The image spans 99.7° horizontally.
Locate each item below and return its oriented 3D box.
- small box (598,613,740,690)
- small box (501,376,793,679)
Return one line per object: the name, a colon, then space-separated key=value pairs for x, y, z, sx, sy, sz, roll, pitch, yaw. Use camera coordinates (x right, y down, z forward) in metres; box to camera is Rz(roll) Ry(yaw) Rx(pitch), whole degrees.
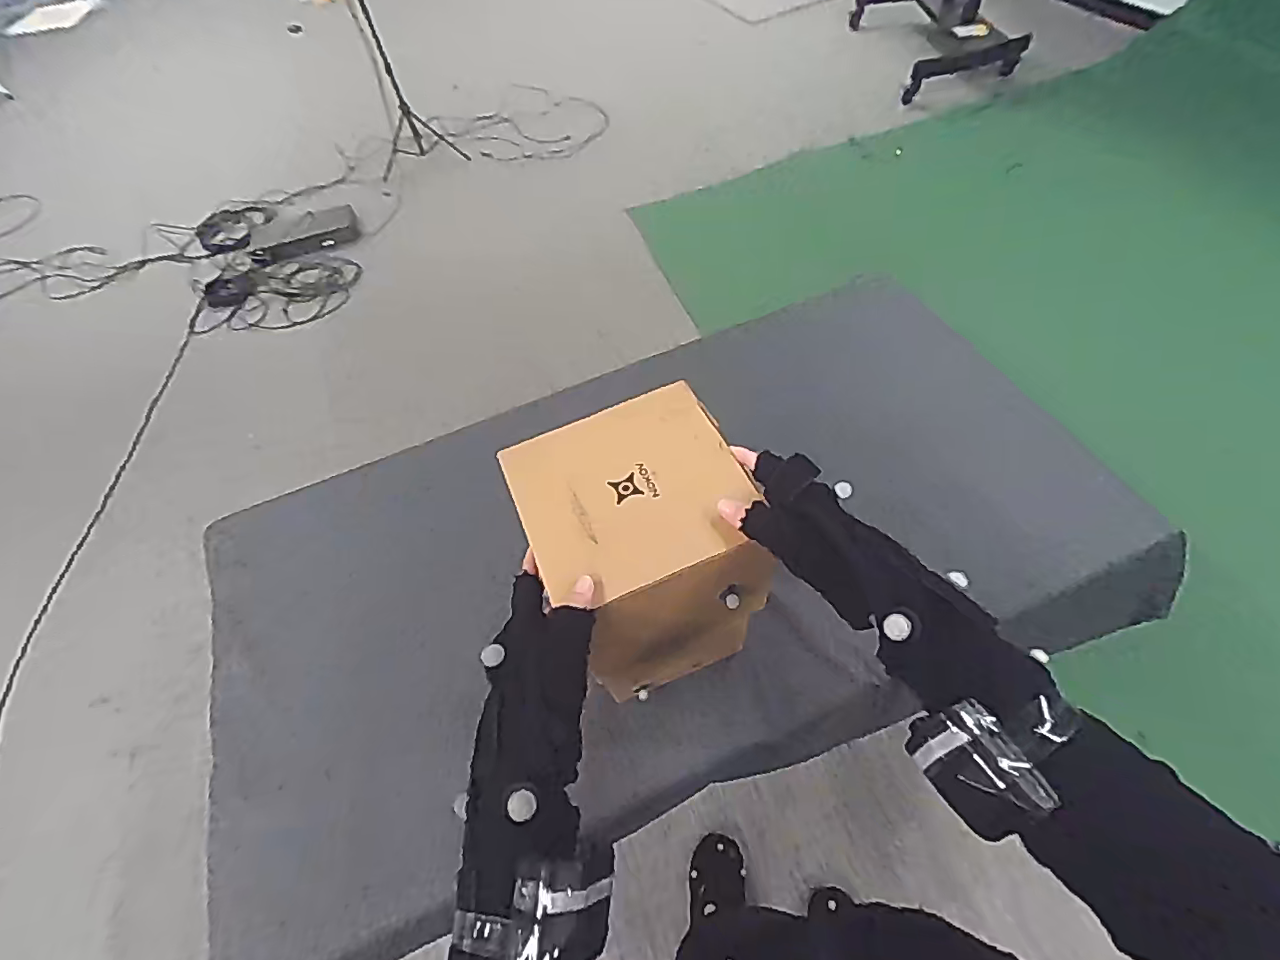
small box: x=0.011 y=0.129 z=0.637 sx=0.168 sy=0.176 sz=0.179 roll=-21 pitch=57 yaw=-8
small box: x=0.004 y=0.047 z=0.478 sx=0.179 sy=0.176 sz=0.168 roll=-26 pitch=57 yaw=-11
